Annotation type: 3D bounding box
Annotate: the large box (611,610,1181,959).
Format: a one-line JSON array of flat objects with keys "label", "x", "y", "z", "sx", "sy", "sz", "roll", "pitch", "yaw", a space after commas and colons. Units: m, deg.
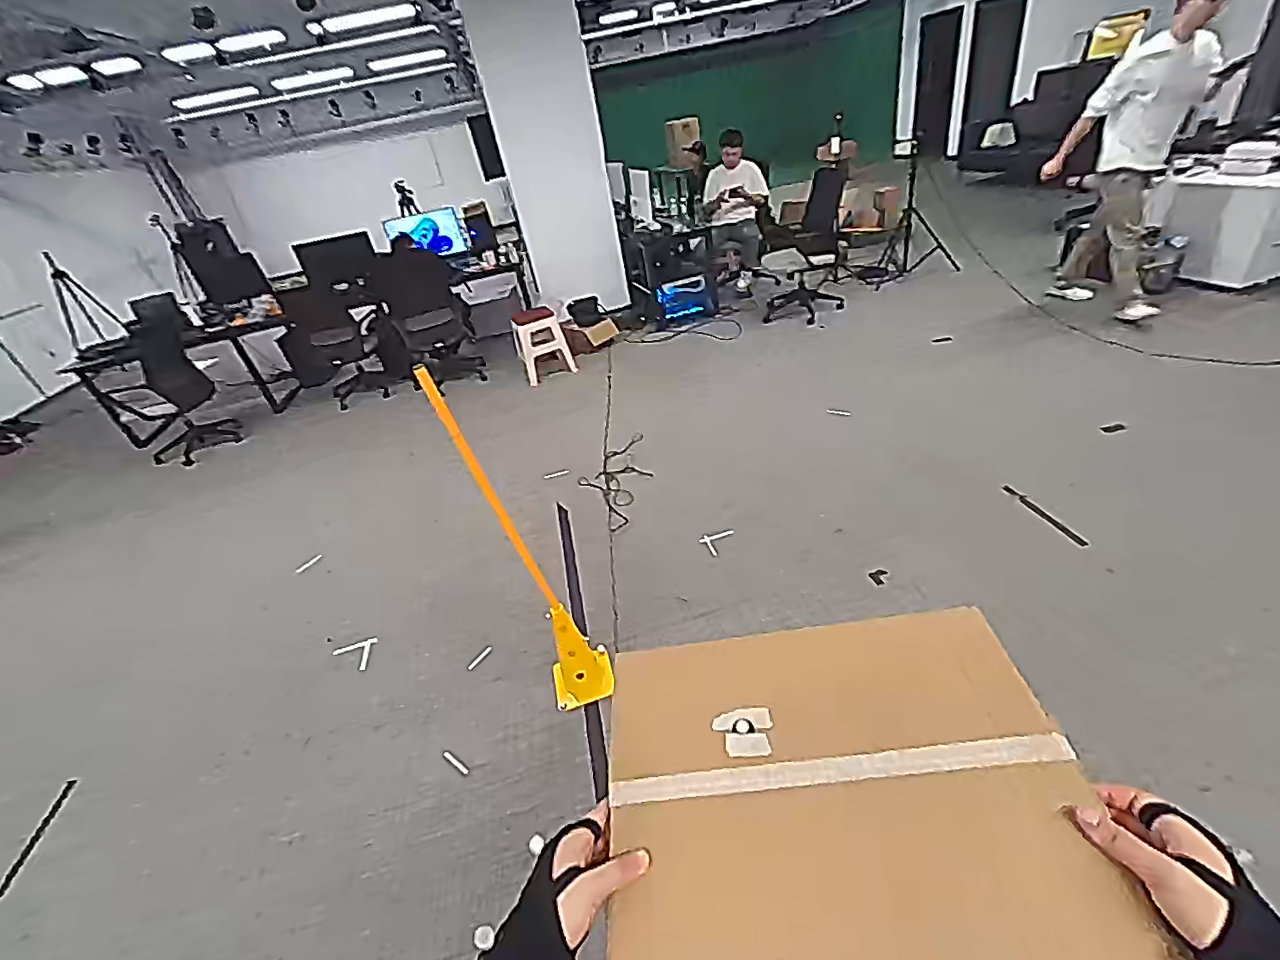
[{"label": "large box", "x": 0.205, "y": 0.388, "z": 0.587, "sx": 0.408, "sy": 0.320, "sz": 0.320, "roll": -12, "pitch": 36, "yaw": 8}]
